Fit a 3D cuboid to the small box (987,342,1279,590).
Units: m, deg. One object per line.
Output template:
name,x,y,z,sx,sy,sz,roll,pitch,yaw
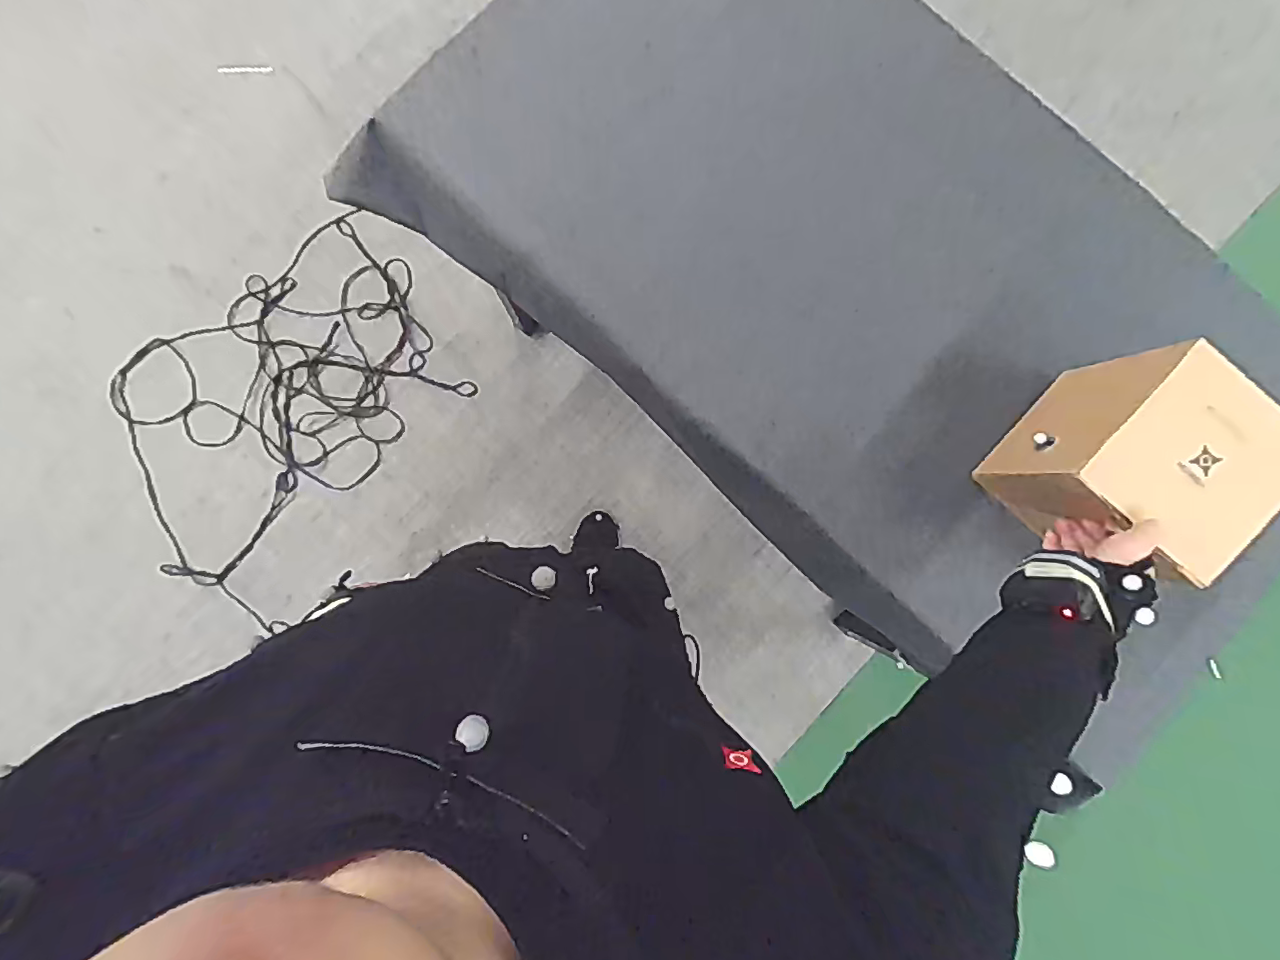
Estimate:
small box,0.522,-0.012,0.583,0.168,0.176,0.179,41,90,0
